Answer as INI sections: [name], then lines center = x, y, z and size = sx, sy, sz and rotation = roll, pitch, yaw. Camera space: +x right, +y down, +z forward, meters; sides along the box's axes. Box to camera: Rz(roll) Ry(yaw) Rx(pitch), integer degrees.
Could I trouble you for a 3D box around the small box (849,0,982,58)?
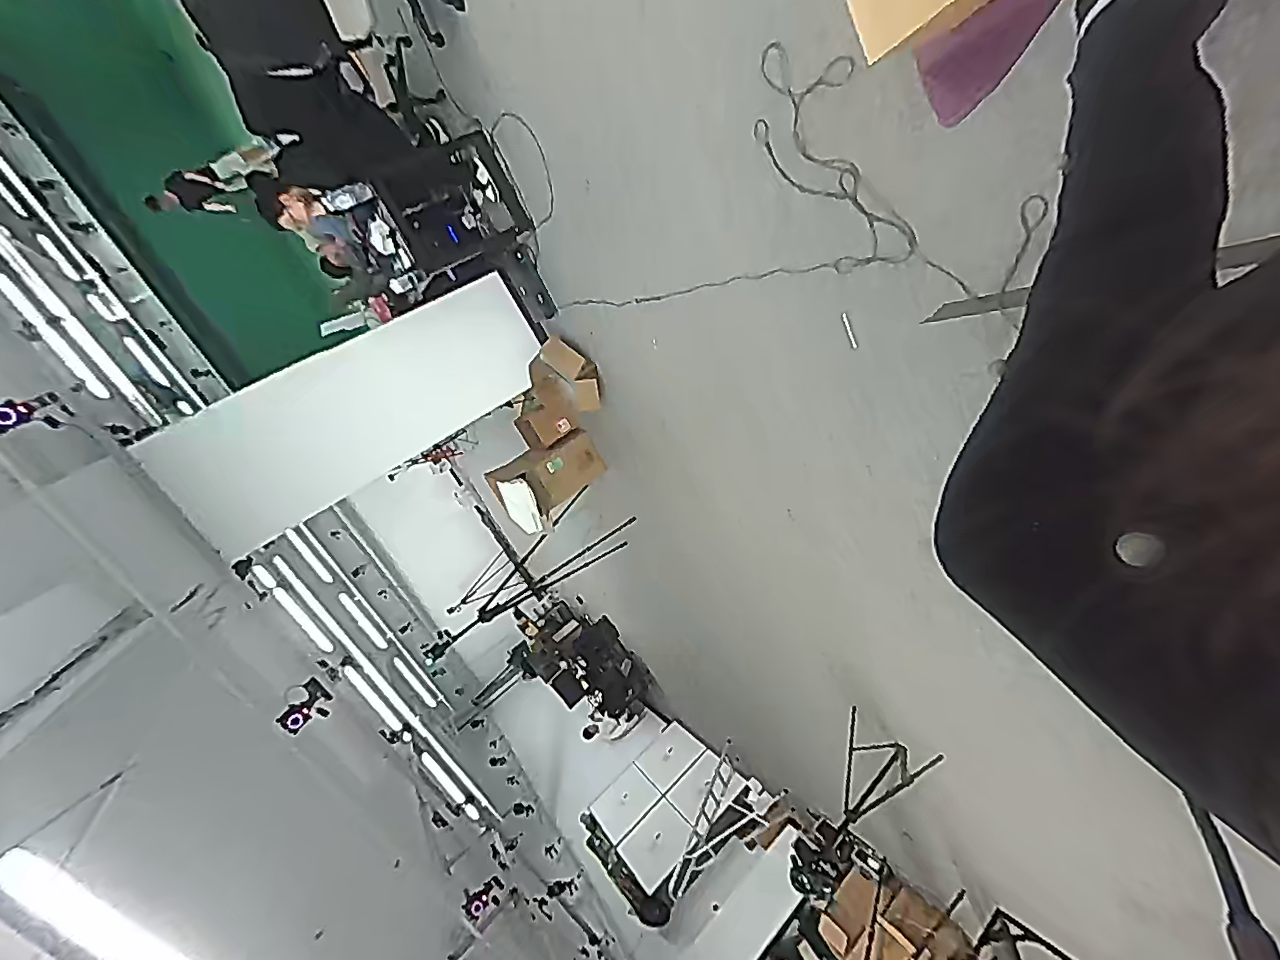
[small box]
center = 0.332, -0.603, 0.570
size = 0.168, 0.176, 0.179
rotation = 60, 156, -16
